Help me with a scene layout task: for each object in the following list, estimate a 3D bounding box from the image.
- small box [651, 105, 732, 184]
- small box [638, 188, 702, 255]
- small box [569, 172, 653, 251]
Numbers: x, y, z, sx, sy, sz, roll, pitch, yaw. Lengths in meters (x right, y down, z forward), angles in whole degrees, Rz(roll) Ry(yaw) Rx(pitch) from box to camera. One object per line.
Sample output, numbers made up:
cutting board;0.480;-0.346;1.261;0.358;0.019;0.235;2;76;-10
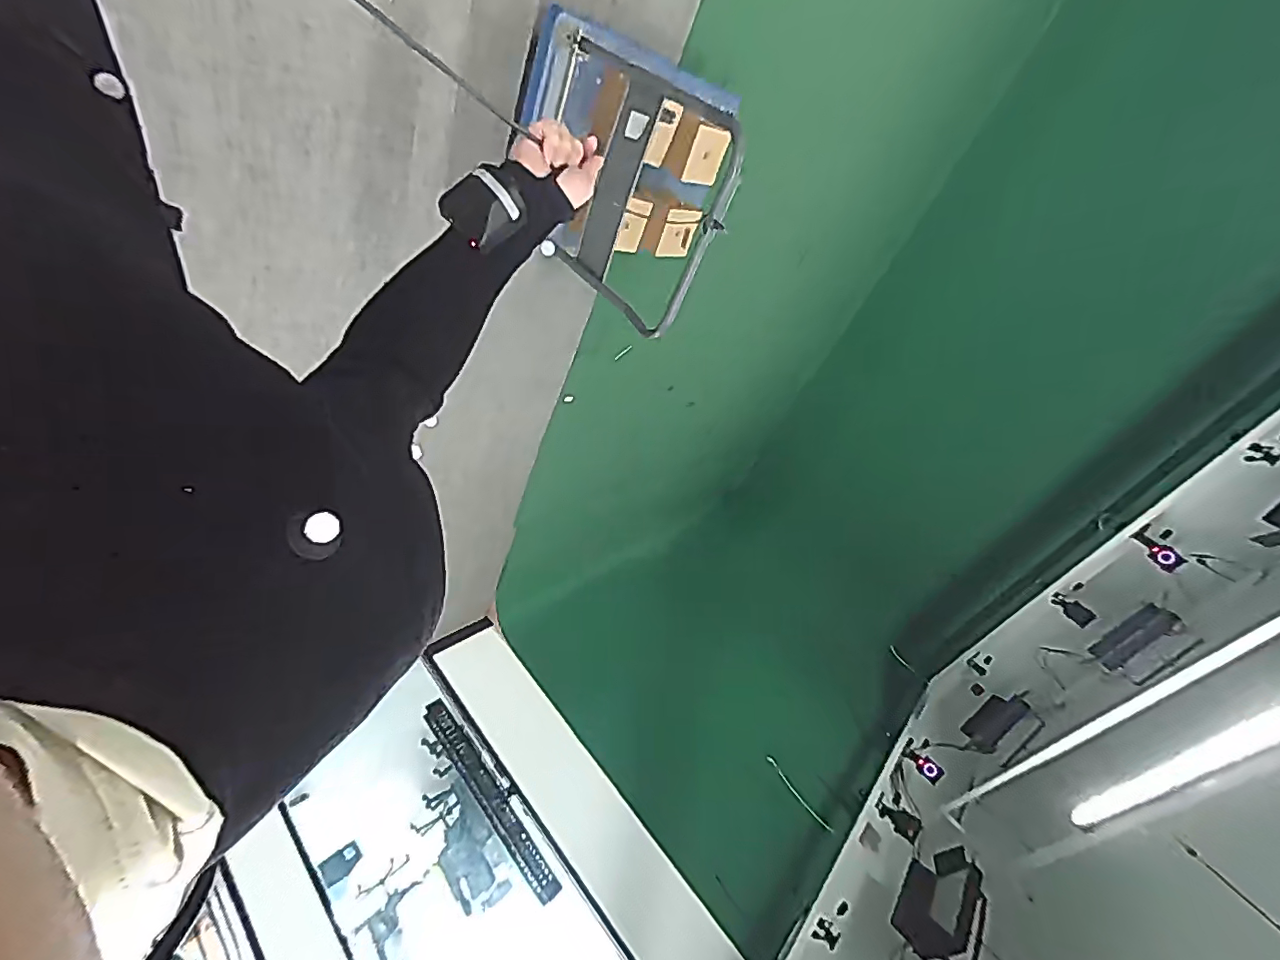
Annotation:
small box;0.164;-1.106;1.782;0.179;0.176;0.168;-22;148;-43
small box;0.083;-0.926;1.939;0.179;0.176;0.168;-20;145;-42
small box;-0.097;-0.867;1.746;0.179;0.176;0.168;-17;144;-46
